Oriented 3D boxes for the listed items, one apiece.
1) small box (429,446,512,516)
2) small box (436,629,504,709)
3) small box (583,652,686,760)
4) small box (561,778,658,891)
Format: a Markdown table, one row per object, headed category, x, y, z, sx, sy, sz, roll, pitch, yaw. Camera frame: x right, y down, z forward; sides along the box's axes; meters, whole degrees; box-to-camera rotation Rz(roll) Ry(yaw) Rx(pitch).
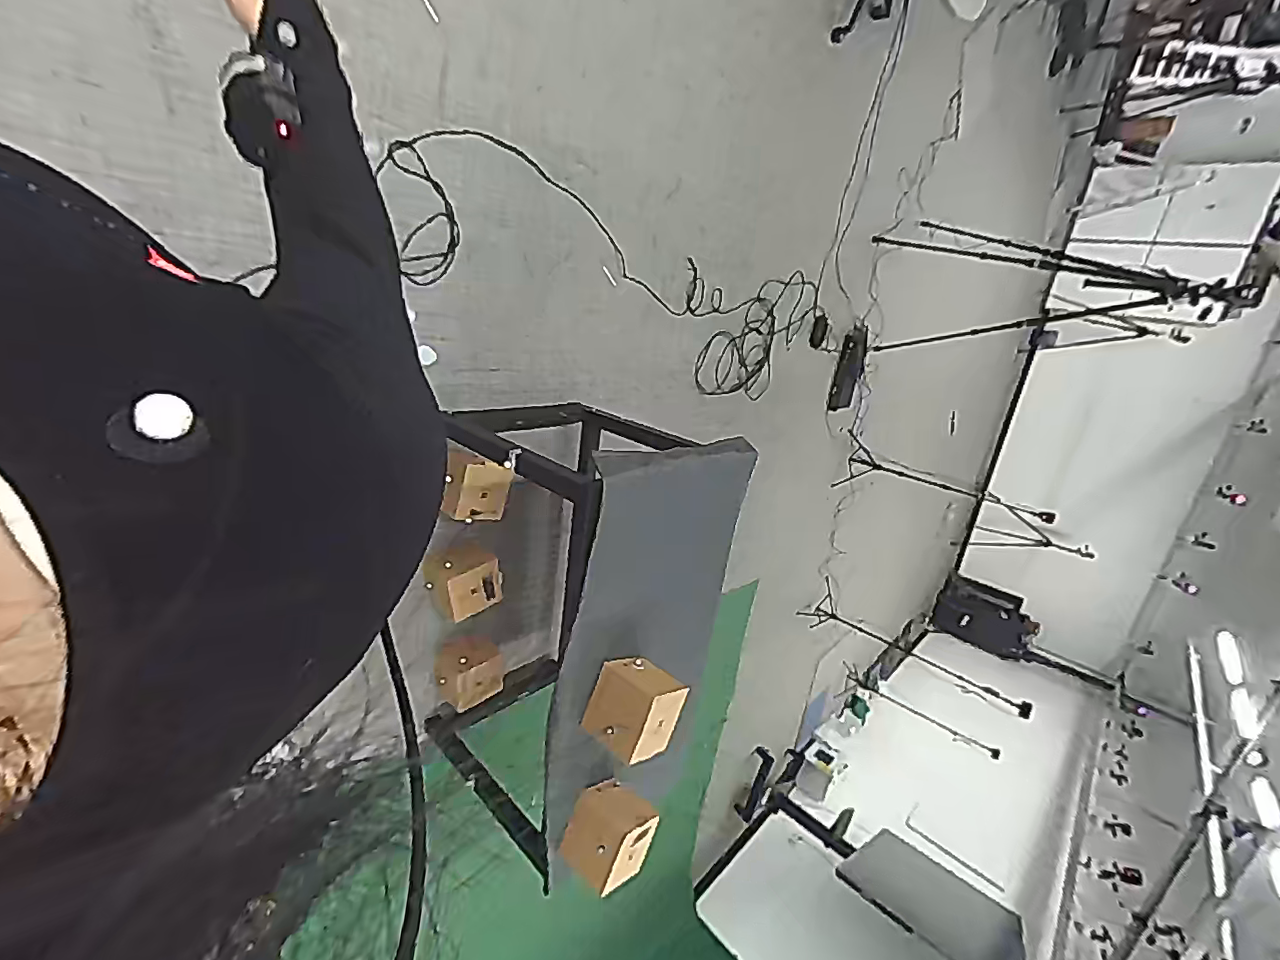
| category | x | y | z | sx | sy | sz | roll | pitch | yaw |
| --- | --- | --- | --- | --- | --- | --- | --- | --- | --- |
| small box | -0.525 | 0.003 | 1.665 | 0.168 | 0.176 | 0.179 | 5 | 103 | -50 |
| small box | -0.600 | 0.656 | 1.894 | 0.179 | 0.176 | 0.168 | -18 | 121 | -43 |
| small box | -0.017 | 0.556 | 1.354 | 0.168 | 0.176 | 0.179 | 17 | 94 | -55 |
| small box | -0.085 | 0.934 | 1.452 | 0.168 | 0.176 | 0.179 | 19 | 92 | -54 |
